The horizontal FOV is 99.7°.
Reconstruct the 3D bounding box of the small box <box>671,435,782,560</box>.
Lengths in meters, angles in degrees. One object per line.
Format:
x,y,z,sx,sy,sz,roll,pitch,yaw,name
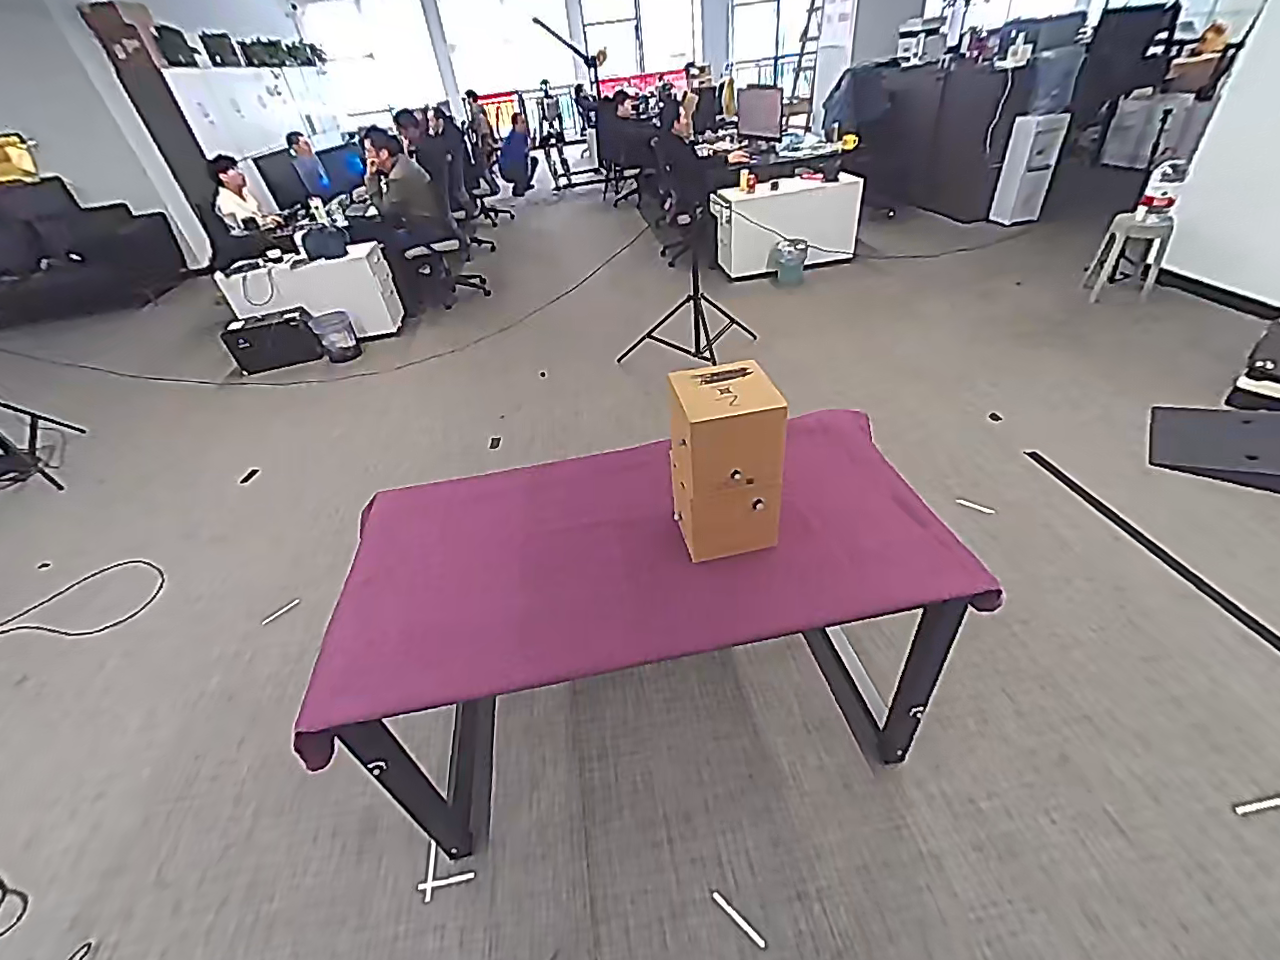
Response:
0.168,0.035,1.082,0.179,0.176,0.168,-12,38,-4,small box
